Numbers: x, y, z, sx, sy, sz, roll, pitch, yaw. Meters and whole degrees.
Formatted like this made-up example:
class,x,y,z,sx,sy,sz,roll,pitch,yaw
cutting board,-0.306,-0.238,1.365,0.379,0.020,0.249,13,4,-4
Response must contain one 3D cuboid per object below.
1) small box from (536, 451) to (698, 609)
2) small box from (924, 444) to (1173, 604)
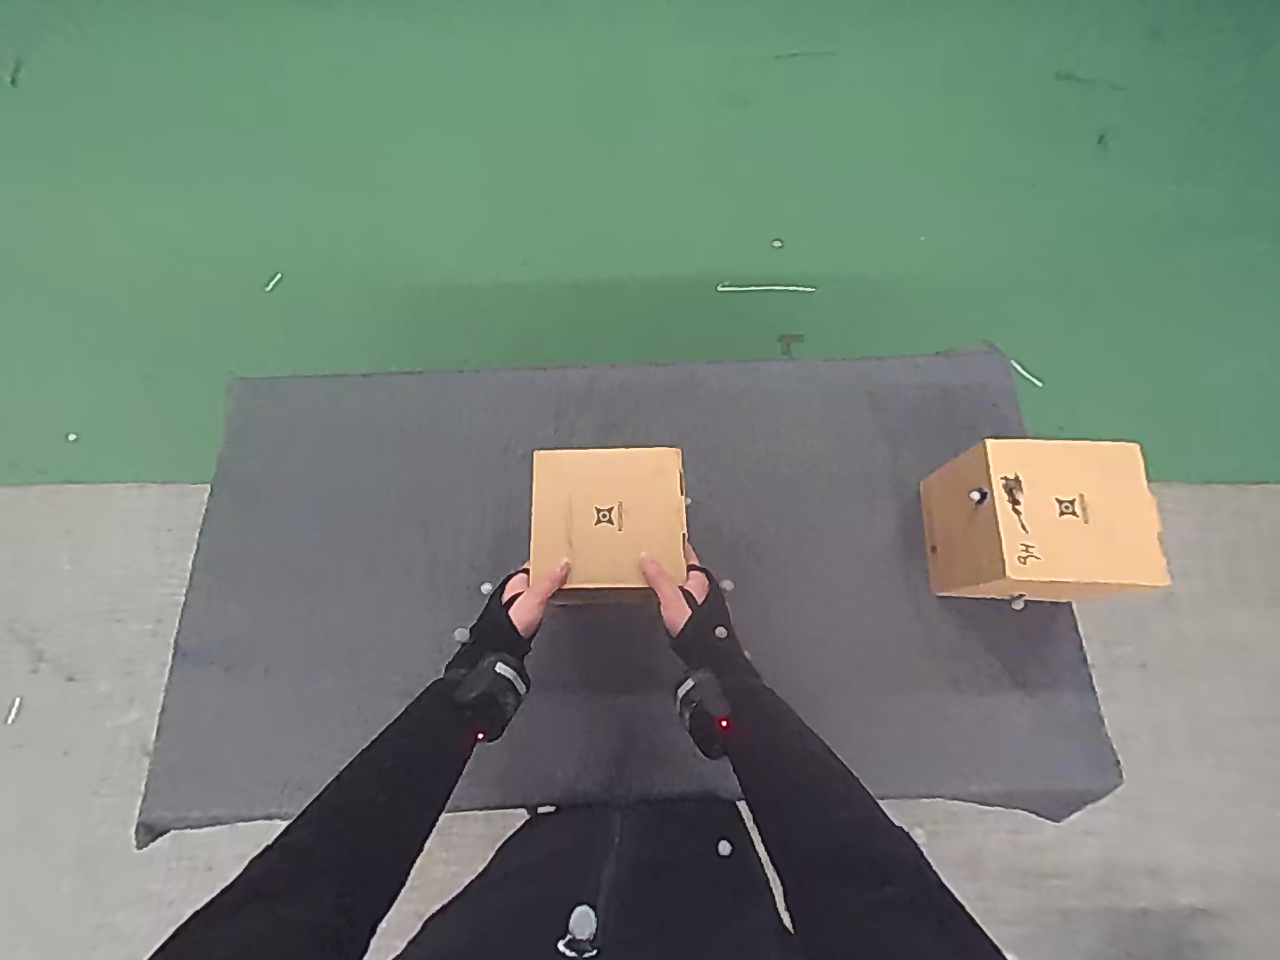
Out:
class,x,y,z,sx,sy,sz,roll,pitch,yaw
small box,-0.026,0.069,0.680,0.179,0.176,0.168,-2,71,0
small box,0.491,0.064,0.680,0.179,0.176,0.168,3,73,1
